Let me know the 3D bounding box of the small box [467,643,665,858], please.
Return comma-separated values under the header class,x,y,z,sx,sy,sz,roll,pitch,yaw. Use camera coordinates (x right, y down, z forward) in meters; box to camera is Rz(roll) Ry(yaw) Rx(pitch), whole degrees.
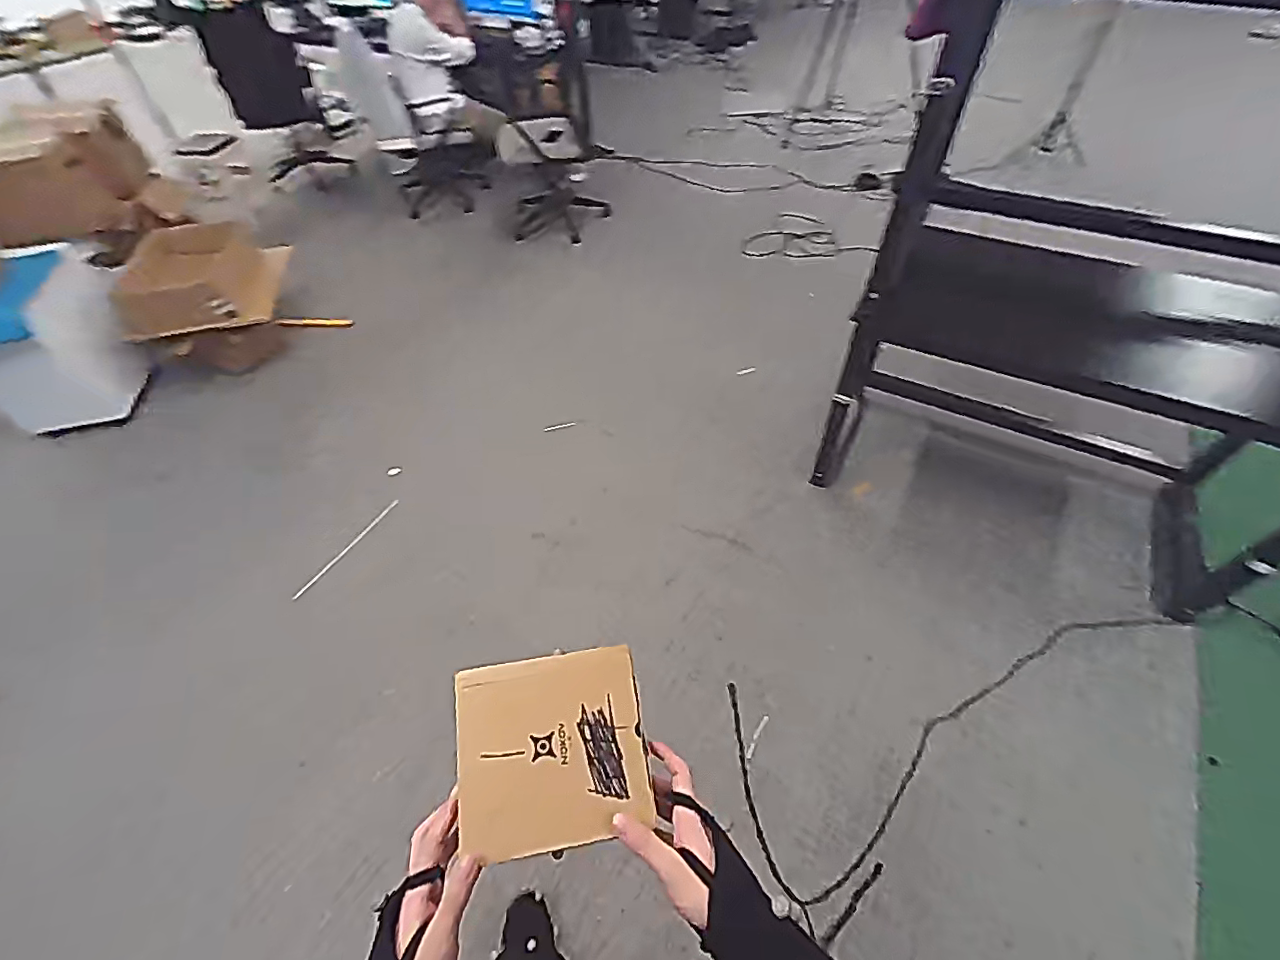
class,x,y,z,sx,sy,sz,roll,pitch,yaw
small box,-0.079,0.280,0.579,0.179,0.176,0.168,-6,63,-7
